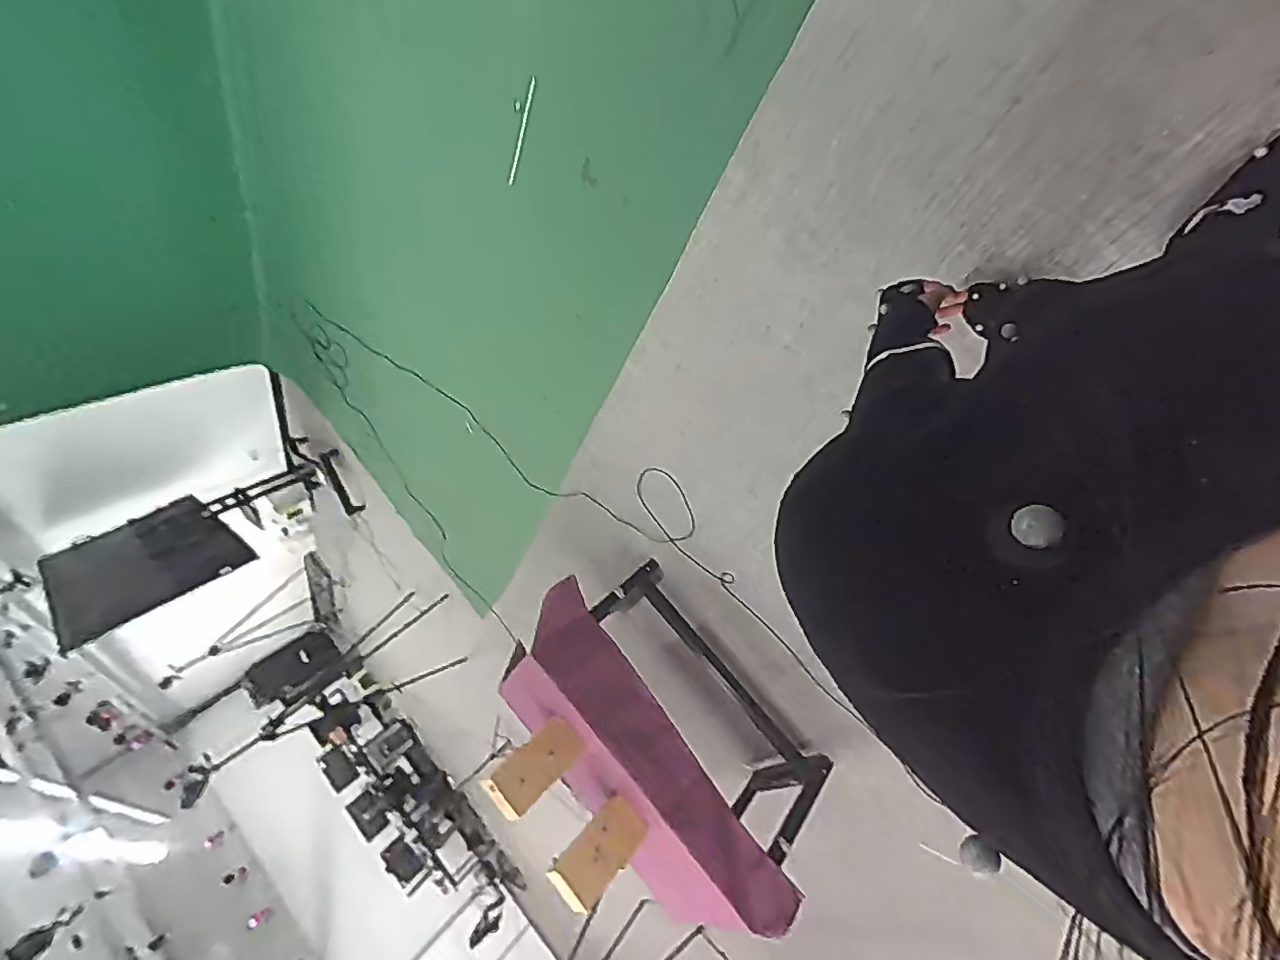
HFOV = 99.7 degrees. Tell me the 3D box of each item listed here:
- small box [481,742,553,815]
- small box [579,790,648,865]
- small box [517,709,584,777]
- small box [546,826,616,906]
[{"bbox_3d":[-0.452,1.093,1.993,0.179,0.176,0.168,48,139,8],"label":"small box"},{"bbox_3d":[-0.097,1.316,2.047,0.179,0.176,0.168,46,140,13],"label":"small box"},{"bbox_3d":[-0.345,1.027,2.099,0.179,0.176,0.168,49,139,9],"label":"small box"},{"bbox_3d":[-0.211,1.388,1.950,0.168,0.176,0.179,46,140,12],"label":"small box"}]
